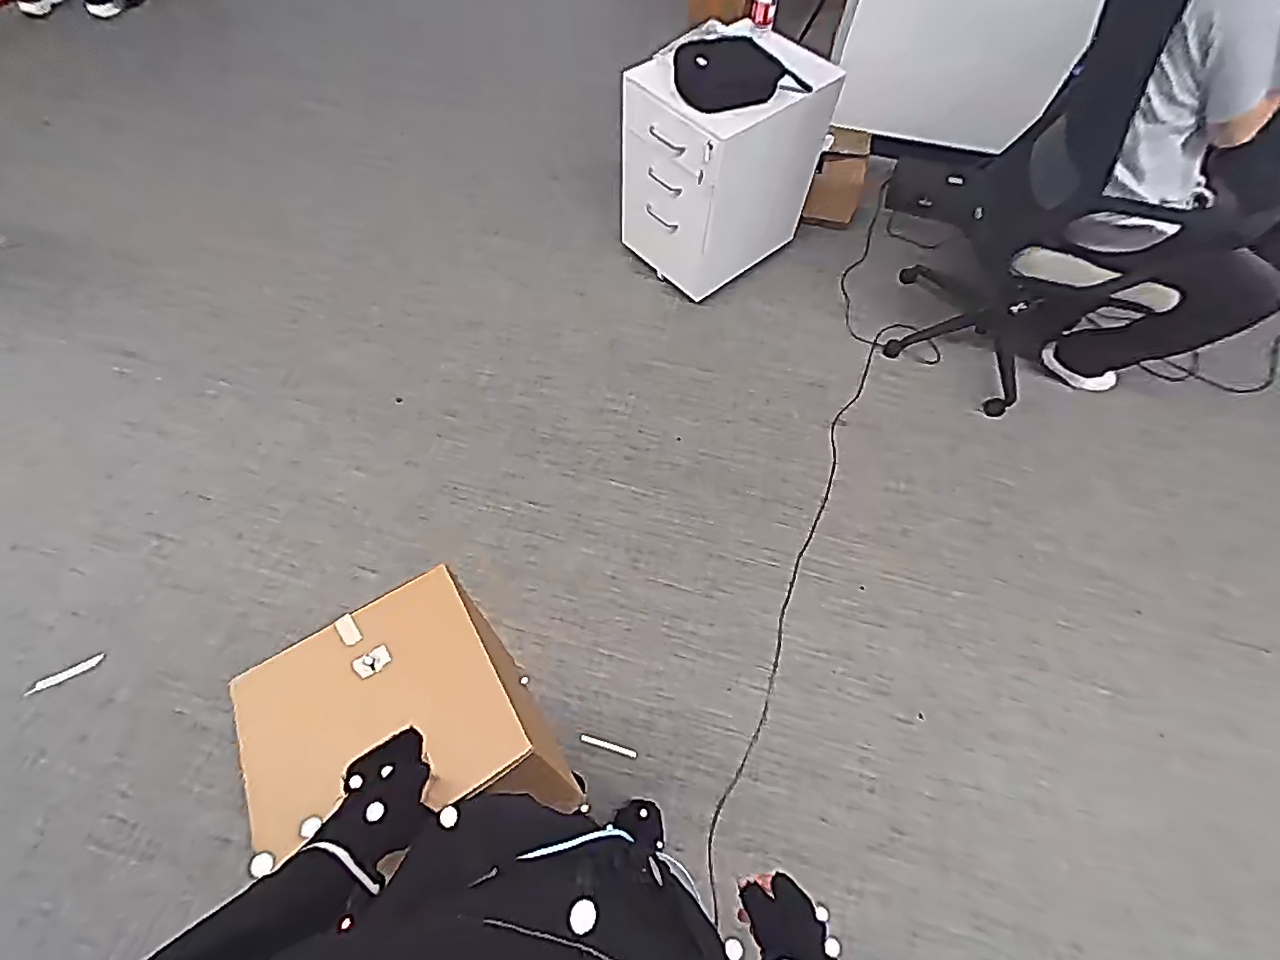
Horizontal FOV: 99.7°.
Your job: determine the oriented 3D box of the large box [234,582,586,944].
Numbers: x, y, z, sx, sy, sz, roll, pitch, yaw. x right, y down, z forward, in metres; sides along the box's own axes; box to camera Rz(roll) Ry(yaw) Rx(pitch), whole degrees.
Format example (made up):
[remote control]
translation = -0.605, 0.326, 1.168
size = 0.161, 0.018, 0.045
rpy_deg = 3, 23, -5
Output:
[large box]
translation = -0.321, 0.428, 0.839
size = 0.320, 0.408, 0.320
rpy_deg = -30, 56, -16
